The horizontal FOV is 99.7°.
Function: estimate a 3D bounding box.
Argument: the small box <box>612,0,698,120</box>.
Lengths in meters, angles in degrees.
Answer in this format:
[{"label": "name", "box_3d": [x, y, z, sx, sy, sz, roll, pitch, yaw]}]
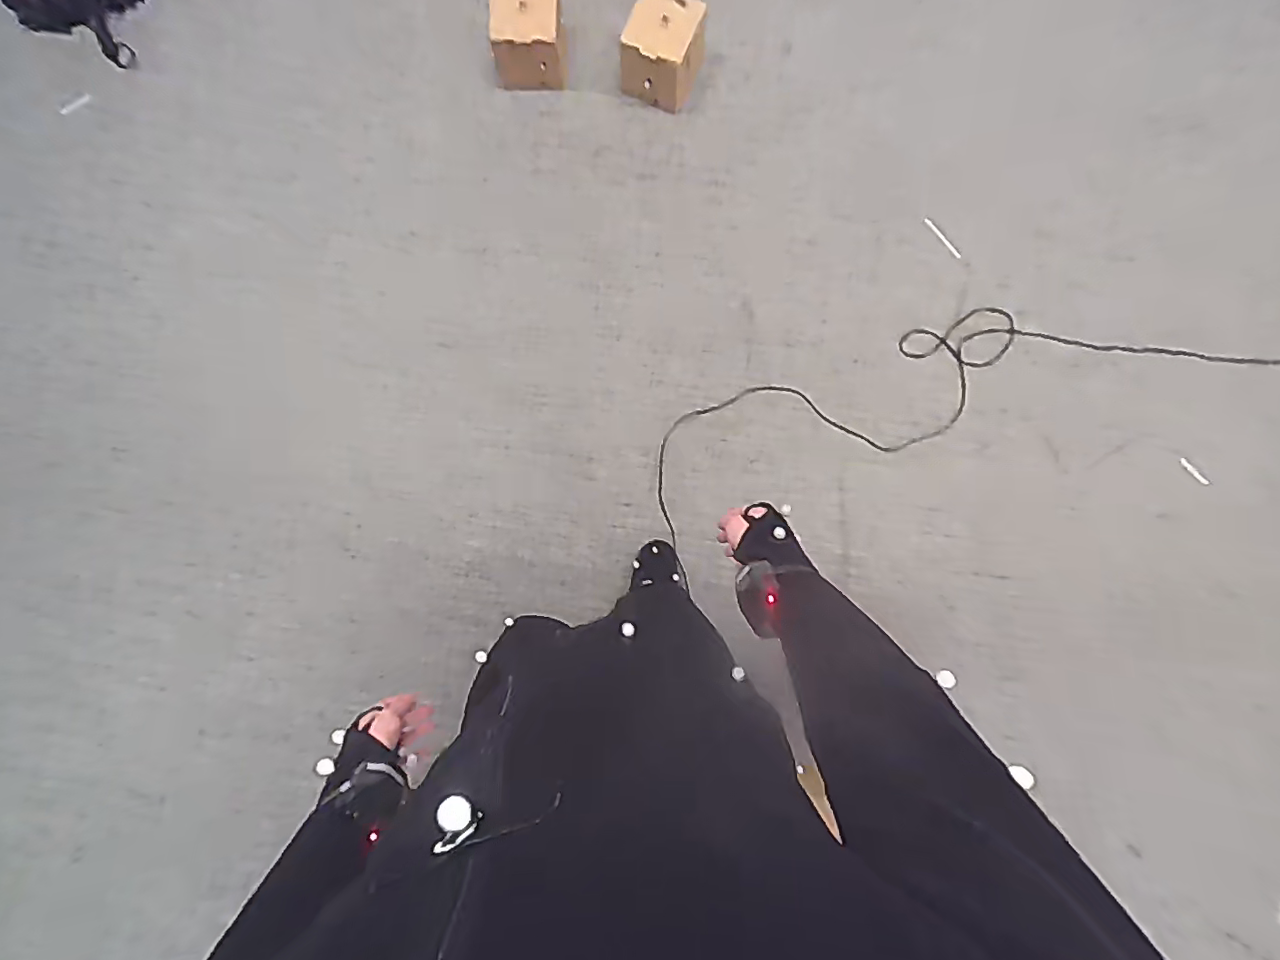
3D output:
[{"label": "small box", "box_3d": [0.042, -1.091, 1.408, 0.168, 0.176, 0.179, 24, 87, 4]}]

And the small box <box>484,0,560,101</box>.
[{"label": "small box", "box_3d": [-0.305, -1.136, 1.422, 0.168, 0.176, 0.179, -1, 85, 0]}]
